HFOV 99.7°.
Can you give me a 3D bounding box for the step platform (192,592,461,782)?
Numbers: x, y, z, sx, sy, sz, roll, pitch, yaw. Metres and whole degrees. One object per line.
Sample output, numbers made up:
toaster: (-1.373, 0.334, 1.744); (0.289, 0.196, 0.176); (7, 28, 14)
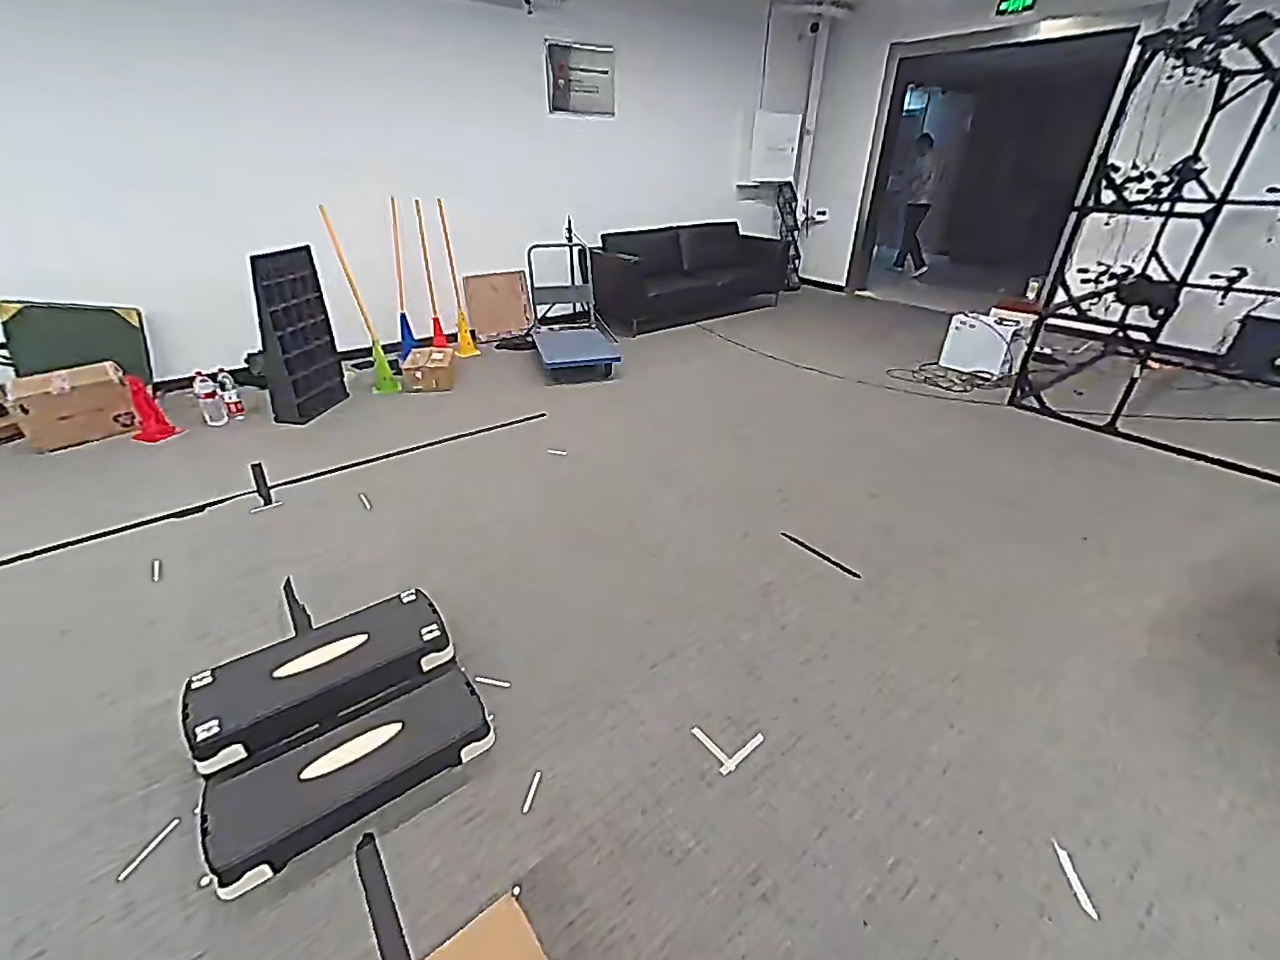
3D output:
step platform: (-0.916, 0.591, 1.637); (0.684, 0.204, 0.286); (-17, 35, -28)
